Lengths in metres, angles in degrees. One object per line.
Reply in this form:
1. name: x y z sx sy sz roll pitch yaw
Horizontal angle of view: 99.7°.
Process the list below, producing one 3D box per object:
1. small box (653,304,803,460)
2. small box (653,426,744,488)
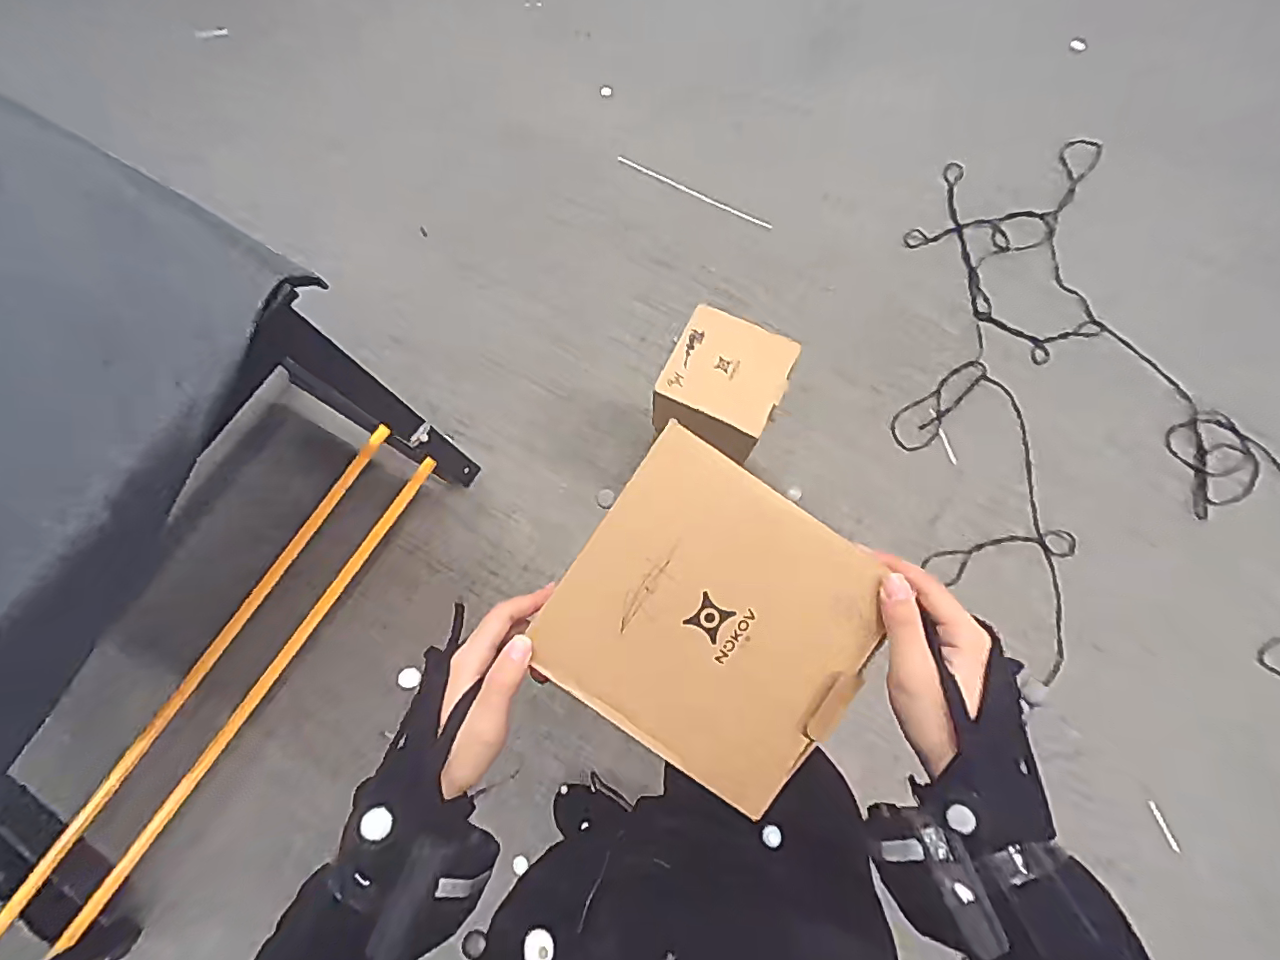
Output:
1. small box: 0.134 -0.147 0.884 0.179 0.176 0.168 26 78 7
2. small box: 0.136 -0.103 1.042 0.168 0.176 0.179 26 77 7
